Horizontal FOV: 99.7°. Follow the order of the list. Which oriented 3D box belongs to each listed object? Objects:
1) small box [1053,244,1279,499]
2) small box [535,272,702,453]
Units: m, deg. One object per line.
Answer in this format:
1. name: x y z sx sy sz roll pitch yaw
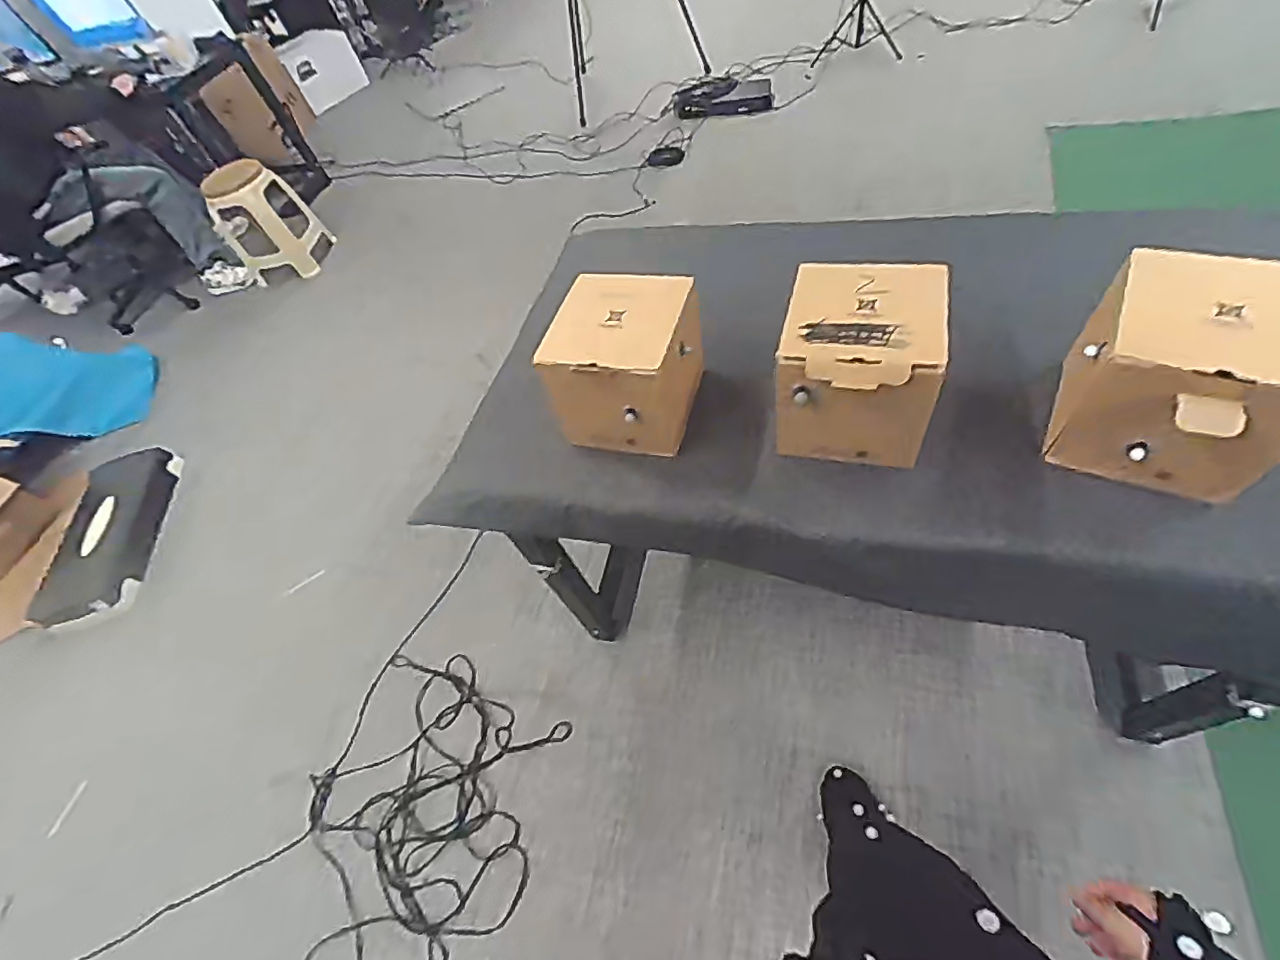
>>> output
1. small box: 0.571 -0.112 0.566 0.168 0.176 0.179 20 63 25
2. small box: -0.015 -0.158 0.739 0.168 0.176 0.179 9 57 17
